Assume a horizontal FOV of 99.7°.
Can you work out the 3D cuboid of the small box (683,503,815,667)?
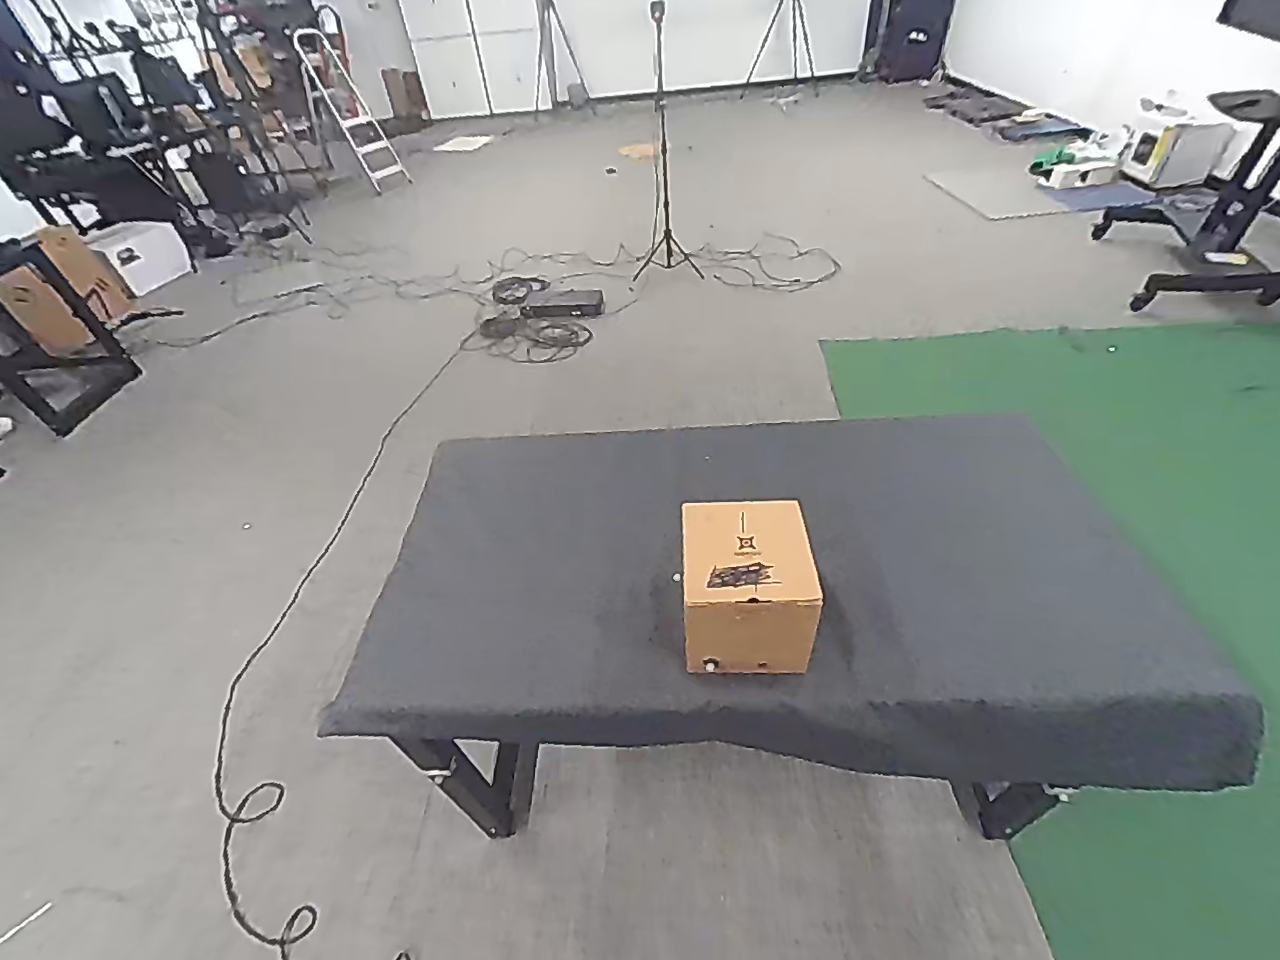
[{"bbox_3d":[0.147,0.153,0.781,0.168,0.176,0.179,-1,41,5],"label":"small box"}]
